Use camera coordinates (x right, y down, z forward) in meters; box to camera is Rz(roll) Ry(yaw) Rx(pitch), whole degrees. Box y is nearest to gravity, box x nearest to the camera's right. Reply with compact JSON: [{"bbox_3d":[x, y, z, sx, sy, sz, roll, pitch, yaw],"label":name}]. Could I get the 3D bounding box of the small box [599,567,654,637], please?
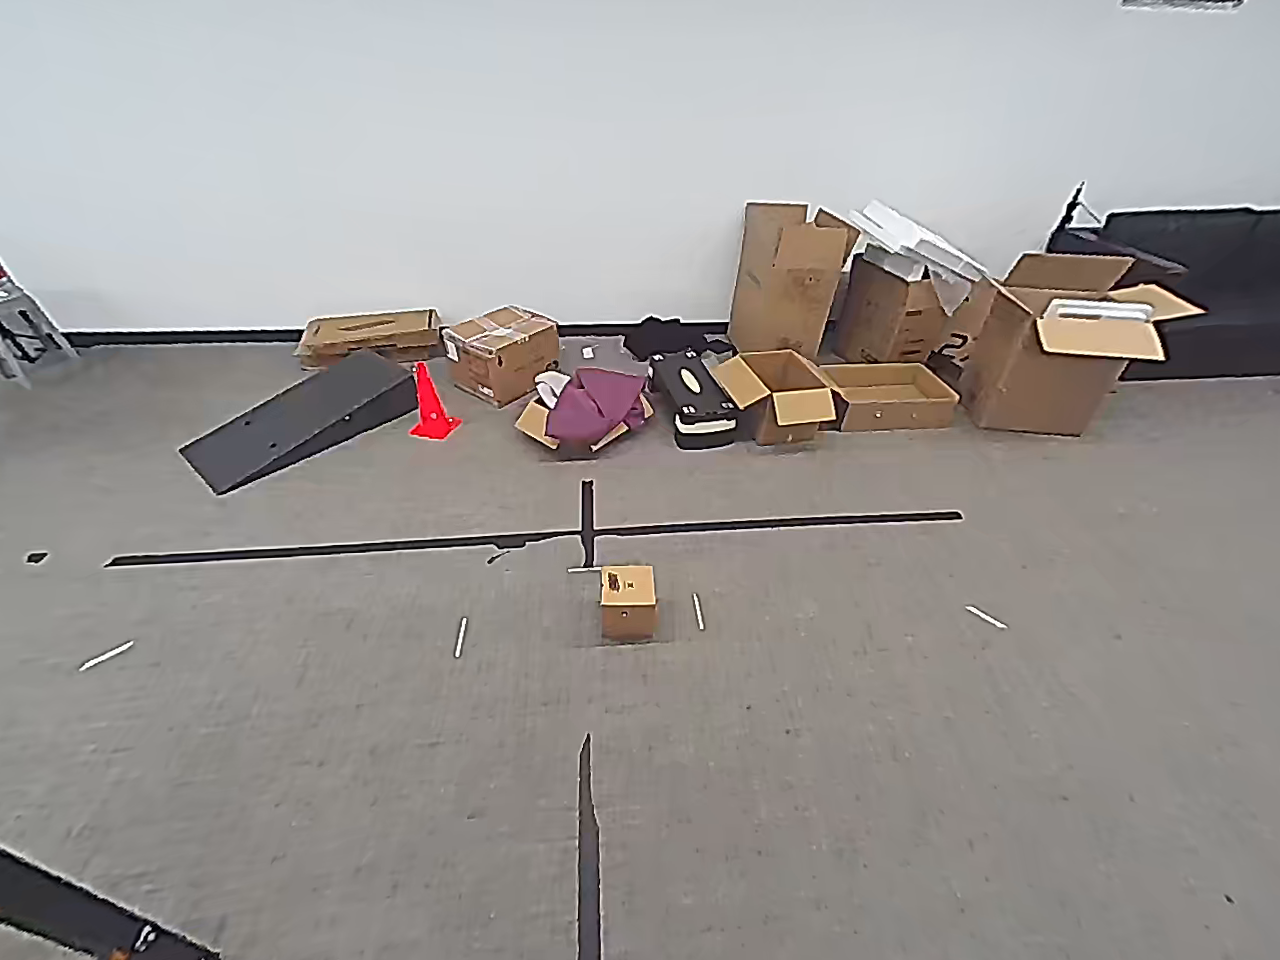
[{"bbox_3d":[-0.045,0.410,1.810,0.179,0.176,0.168,0,39,-4],"label":"small box"}]
